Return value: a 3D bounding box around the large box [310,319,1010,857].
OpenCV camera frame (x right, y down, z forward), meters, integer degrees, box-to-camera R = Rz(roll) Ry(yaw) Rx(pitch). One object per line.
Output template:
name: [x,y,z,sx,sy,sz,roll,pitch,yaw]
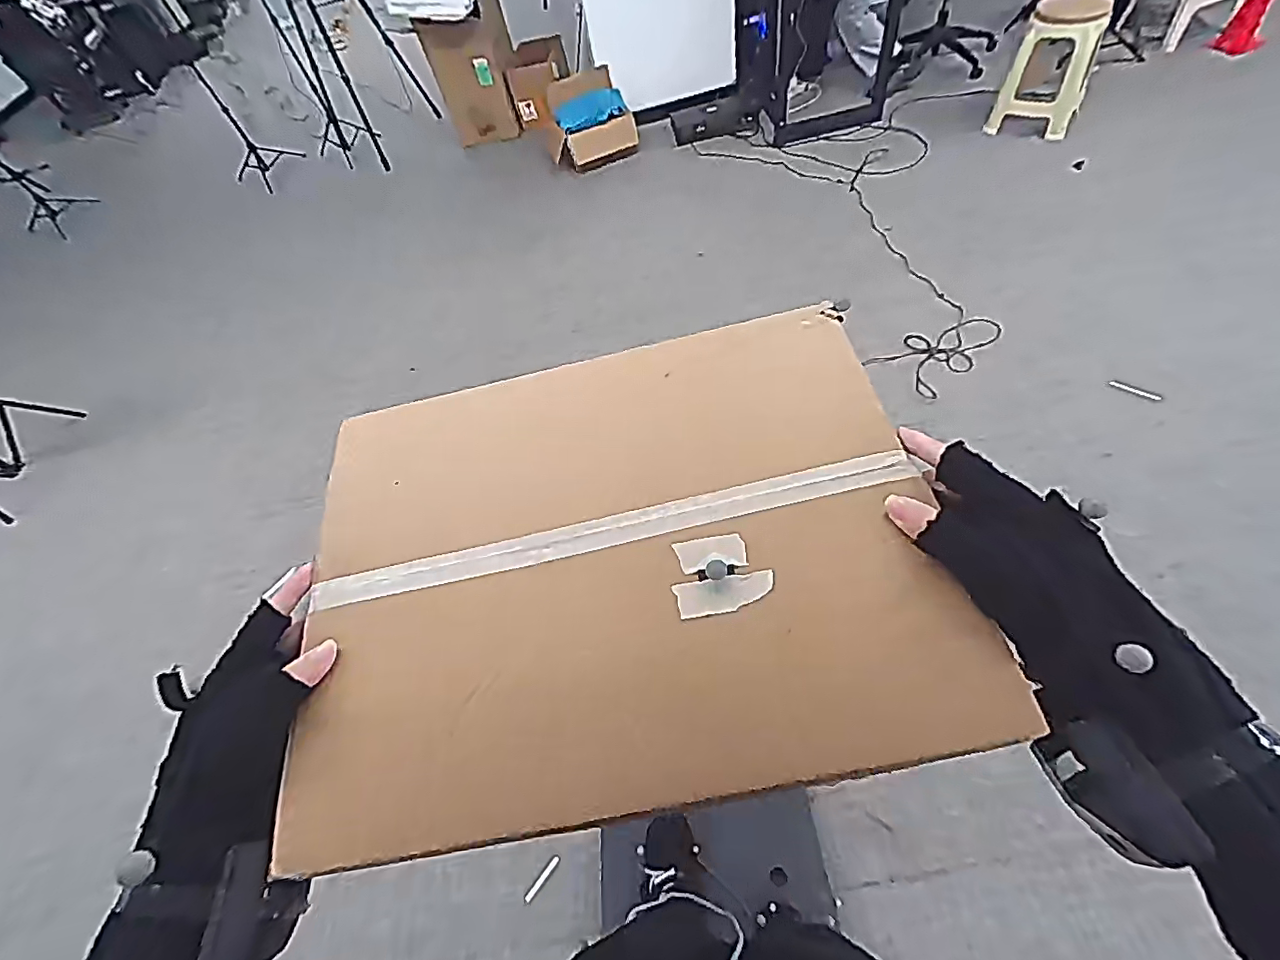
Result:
large box: [0.003,0.114,0.497,0.408,0.320,0.320,-13,59,3]
